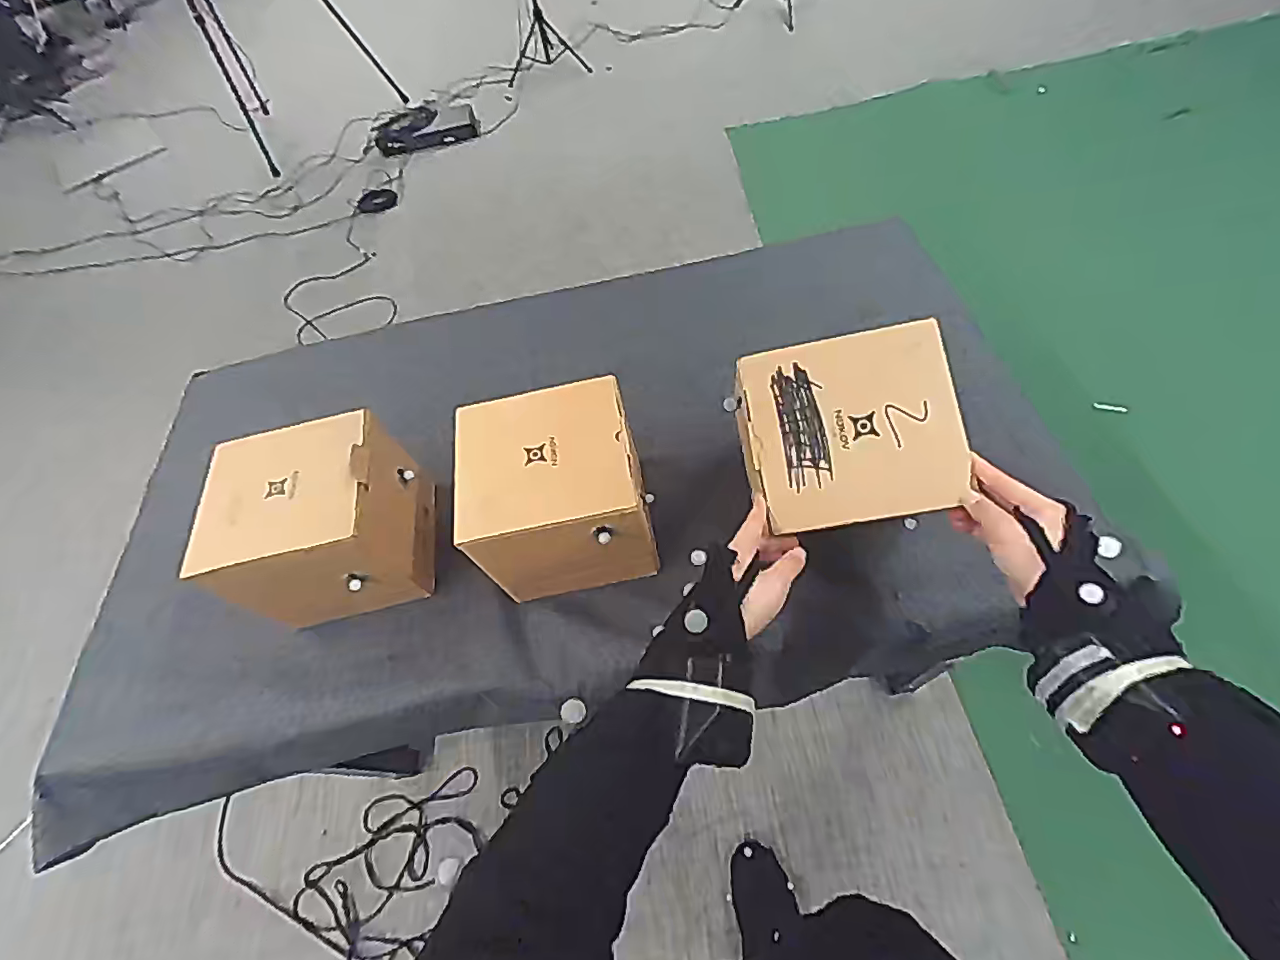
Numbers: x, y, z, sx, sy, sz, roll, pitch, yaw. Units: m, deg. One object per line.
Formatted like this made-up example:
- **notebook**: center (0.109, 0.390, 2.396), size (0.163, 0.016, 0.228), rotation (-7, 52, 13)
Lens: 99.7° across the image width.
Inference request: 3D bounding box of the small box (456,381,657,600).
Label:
- **small box**: center (-0.086, 0.020, 0.606), size (0.179, 0.176, 0.168), rotation (-12, 57, 1)

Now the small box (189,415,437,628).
- **small box**: center (-0.354, 0.055, 0.628), size (0.179, 0.176, 0.168), rotation (-14, 56, 1)
